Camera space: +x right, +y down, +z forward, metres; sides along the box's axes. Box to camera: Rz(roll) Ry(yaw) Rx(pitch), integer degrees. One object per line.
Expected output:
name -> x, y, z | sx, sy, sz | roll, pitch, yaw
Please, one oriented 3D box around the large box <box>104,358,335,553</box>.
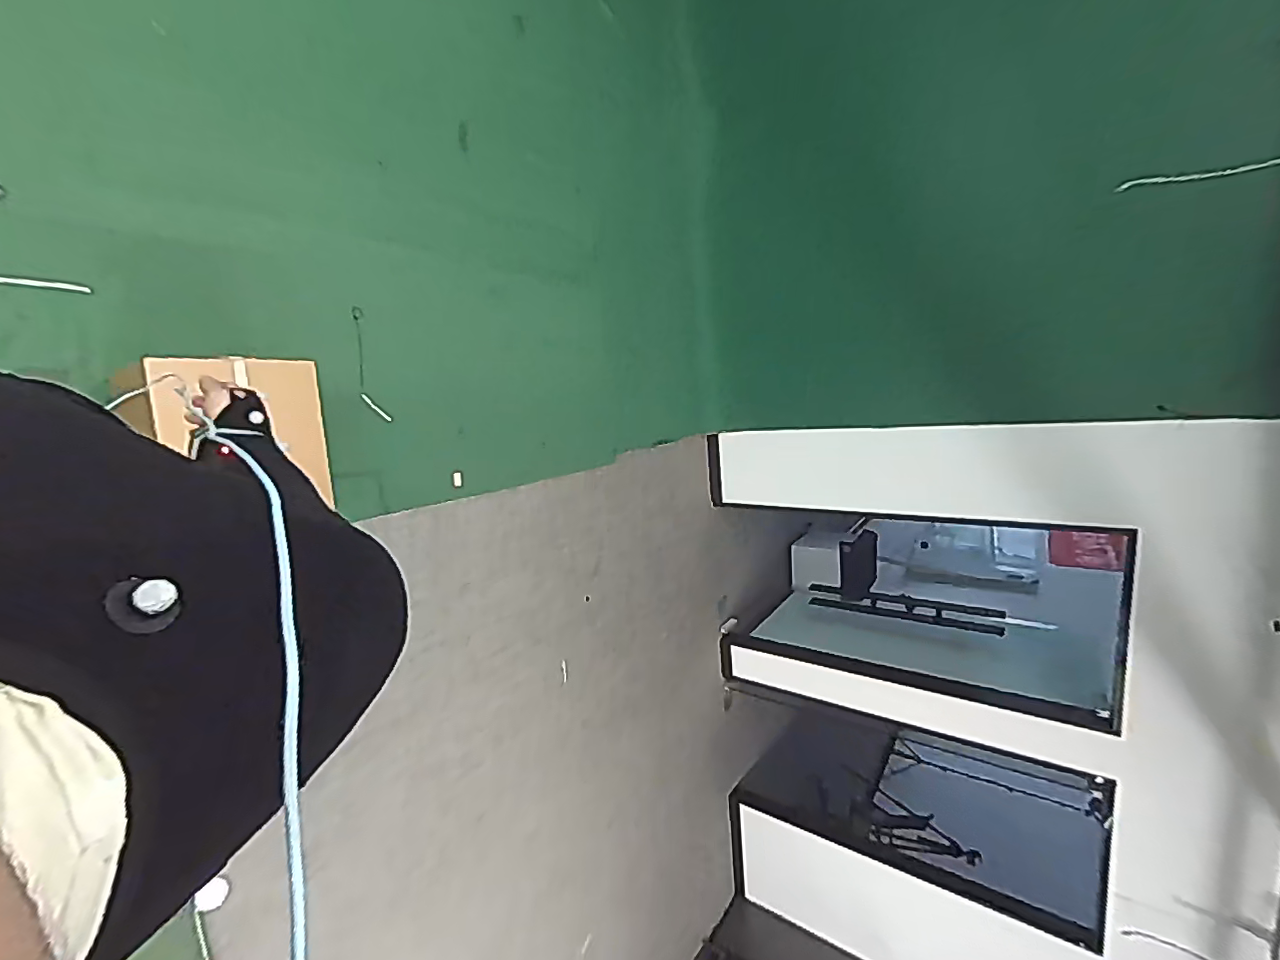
large box -> -0.983, -0.075, 1.280 | 0.320, 0.320, 0.408 | -15, 105, -53
